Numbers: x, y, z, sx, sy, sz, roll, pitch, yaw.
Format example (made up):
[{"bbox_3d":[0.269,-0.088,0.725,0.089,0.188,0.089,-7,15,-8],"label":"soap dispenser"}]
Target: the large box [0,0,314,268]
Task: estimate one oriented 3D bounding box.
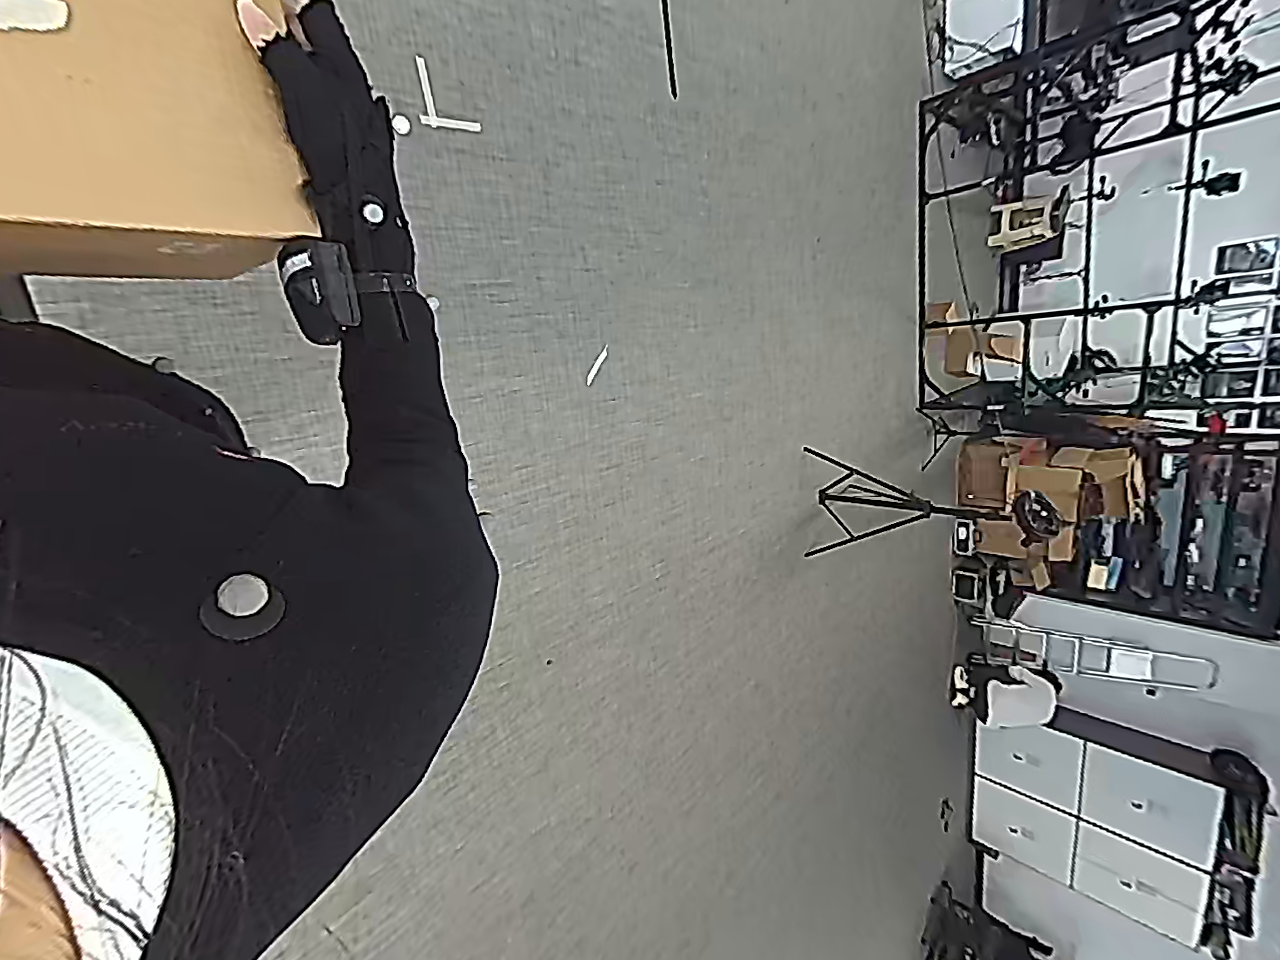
[{"bbox_3d":[-0.492,-0.305,0.317,0.408,0.320,0.320,-19,114,-44],"label":"large box"}]
